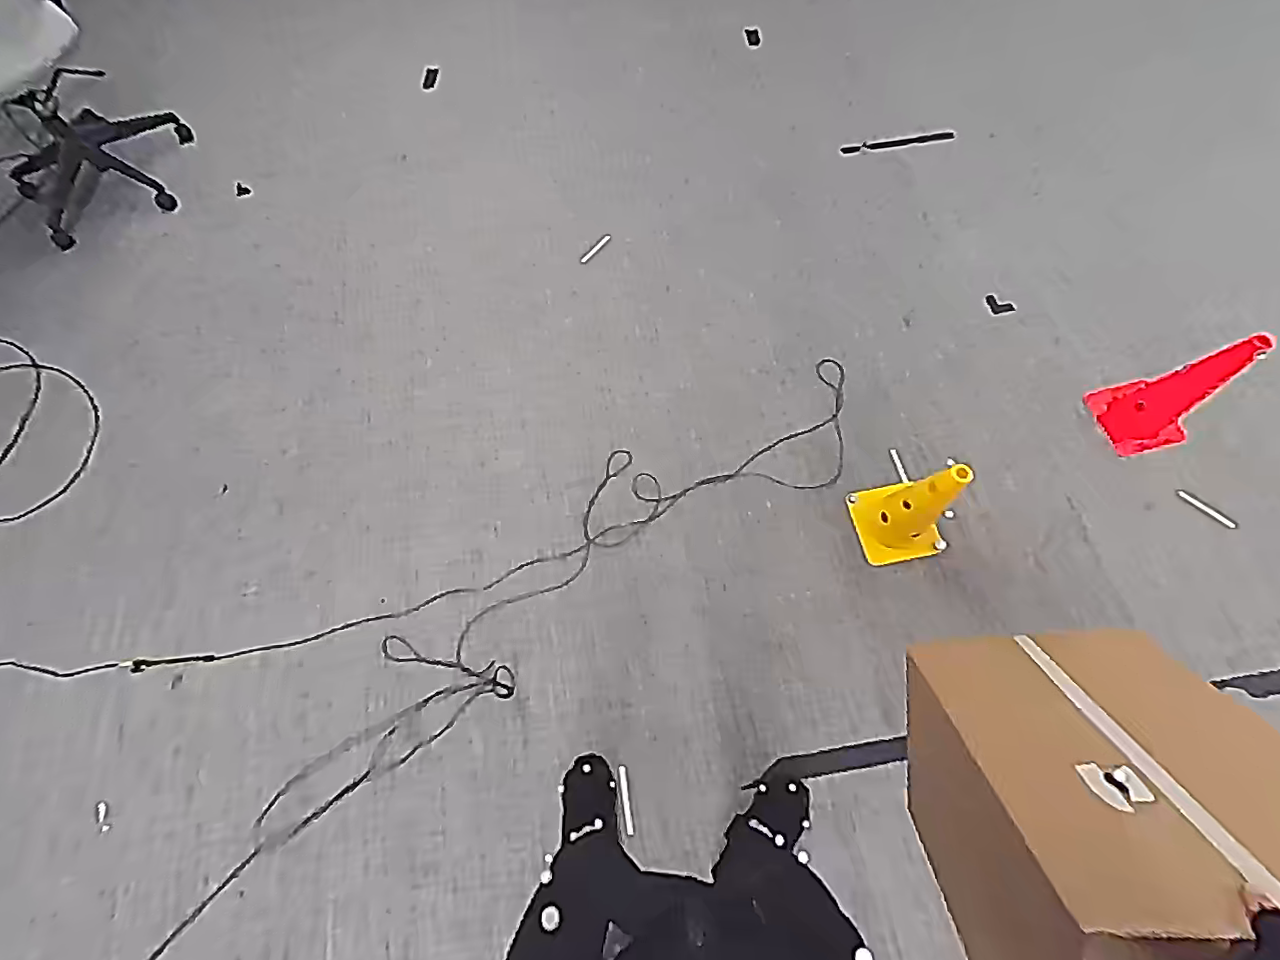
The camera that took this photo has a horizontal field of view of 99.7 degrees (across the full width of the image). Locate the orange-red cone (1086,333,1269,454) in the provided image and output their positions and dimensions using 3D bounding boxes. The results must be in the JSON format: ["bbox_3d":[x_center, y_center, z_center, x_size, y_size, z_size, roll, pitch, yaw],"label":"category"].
[{"bbox_3d":[1.342,-0.235,1.320,0.199,0.360,0.198,-13,68,0],"label":"orange-red cone"}]

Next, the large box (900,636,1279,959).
[{"bbox_3d":[0.537,0.434,0.638,0.320,0.408,0.320,-7,106,8],"label":"large box"}]
